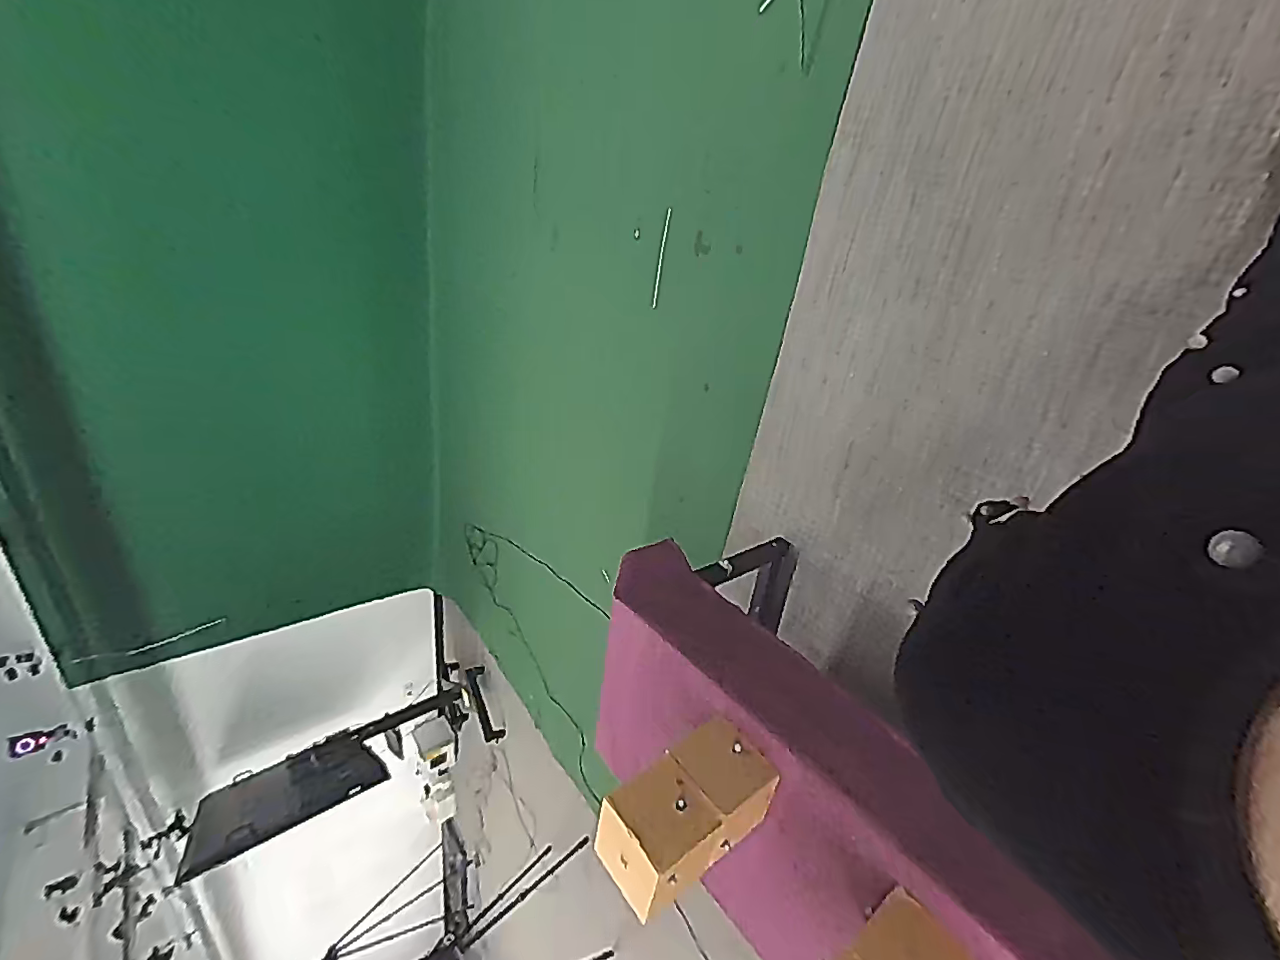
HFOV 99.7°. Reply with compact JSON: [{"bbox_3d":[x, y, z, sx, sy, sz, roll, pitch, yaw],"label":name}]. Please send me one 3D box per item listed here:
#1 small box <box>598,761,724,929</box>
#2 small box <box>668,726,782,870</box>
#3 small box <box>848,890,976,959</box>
[{"bbox_3d":[0.040,0.693,1.044,0.168,0.176,0.179,35,125,40],"label":"small box"},{"bbox_3d":[0.166,0.653,1.141,0.179,0.176,0.168,35,126,42],"label":"small box"},{"bbox_3d":[0.430,0.817,0.857,0.179,0.176,0.168,36,126,41],"label":"small box"}]
